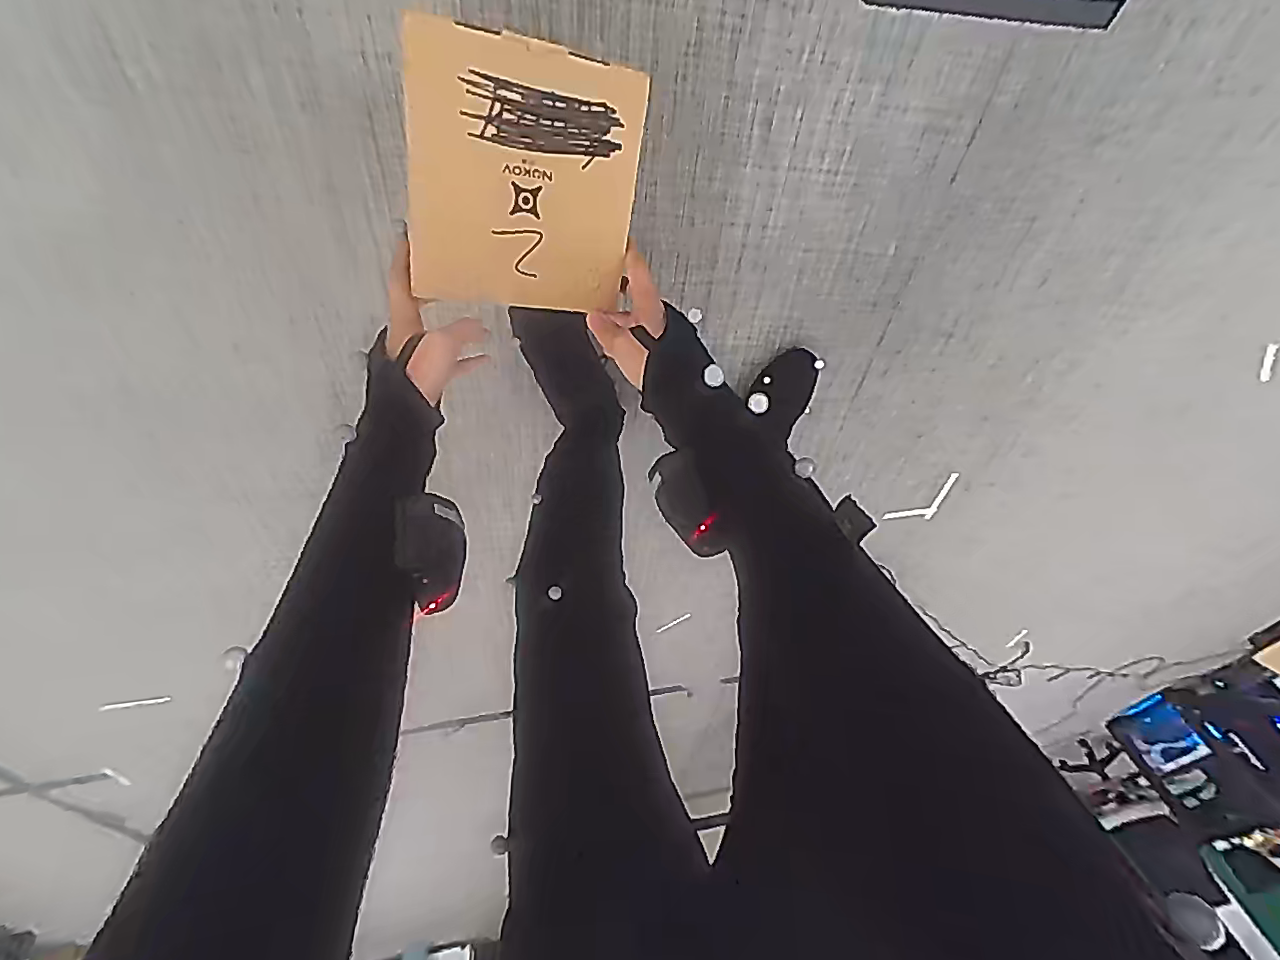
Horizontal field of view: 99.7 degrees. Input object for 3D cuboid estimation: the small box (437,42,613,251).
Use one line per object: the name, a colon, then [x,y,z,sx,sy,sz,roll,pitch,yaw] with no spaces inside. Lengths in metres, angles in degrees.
small box: [-0.125,-0.379,0.614,0.168,0.176,0.179,-4,133,-9]
